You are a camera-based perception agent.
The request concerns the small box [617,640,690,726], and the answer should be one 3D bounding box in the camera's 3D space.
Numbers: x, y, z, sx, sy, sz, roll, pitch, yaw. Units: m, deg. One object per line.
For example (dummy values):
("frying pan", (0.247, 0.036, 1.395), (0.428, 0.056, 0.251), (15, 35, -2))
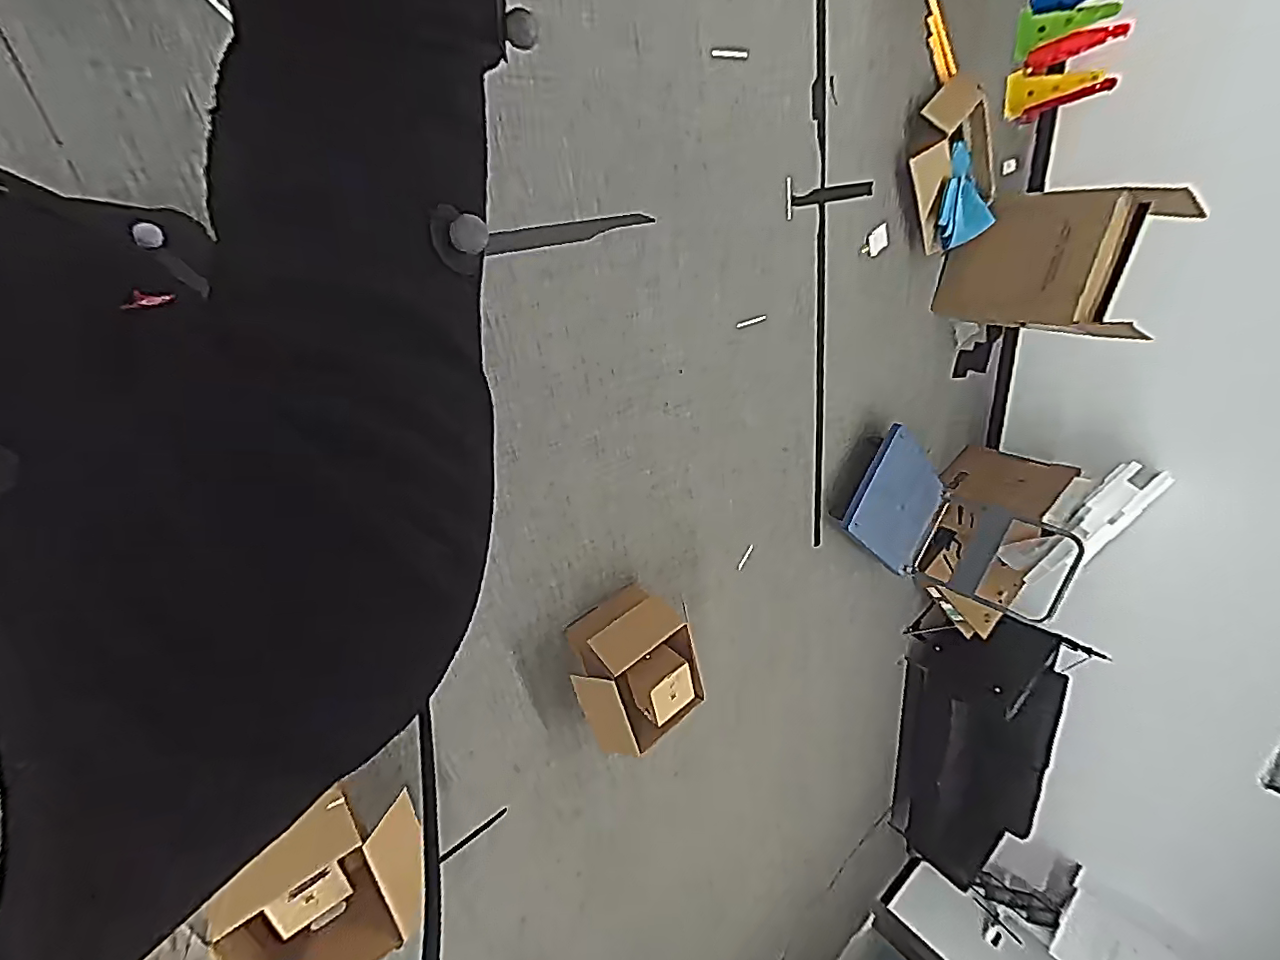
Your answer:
("small box", (0.045, 0.682, 1.833), (0.168, 0.176, 0.179), (-29, 122, -29))
